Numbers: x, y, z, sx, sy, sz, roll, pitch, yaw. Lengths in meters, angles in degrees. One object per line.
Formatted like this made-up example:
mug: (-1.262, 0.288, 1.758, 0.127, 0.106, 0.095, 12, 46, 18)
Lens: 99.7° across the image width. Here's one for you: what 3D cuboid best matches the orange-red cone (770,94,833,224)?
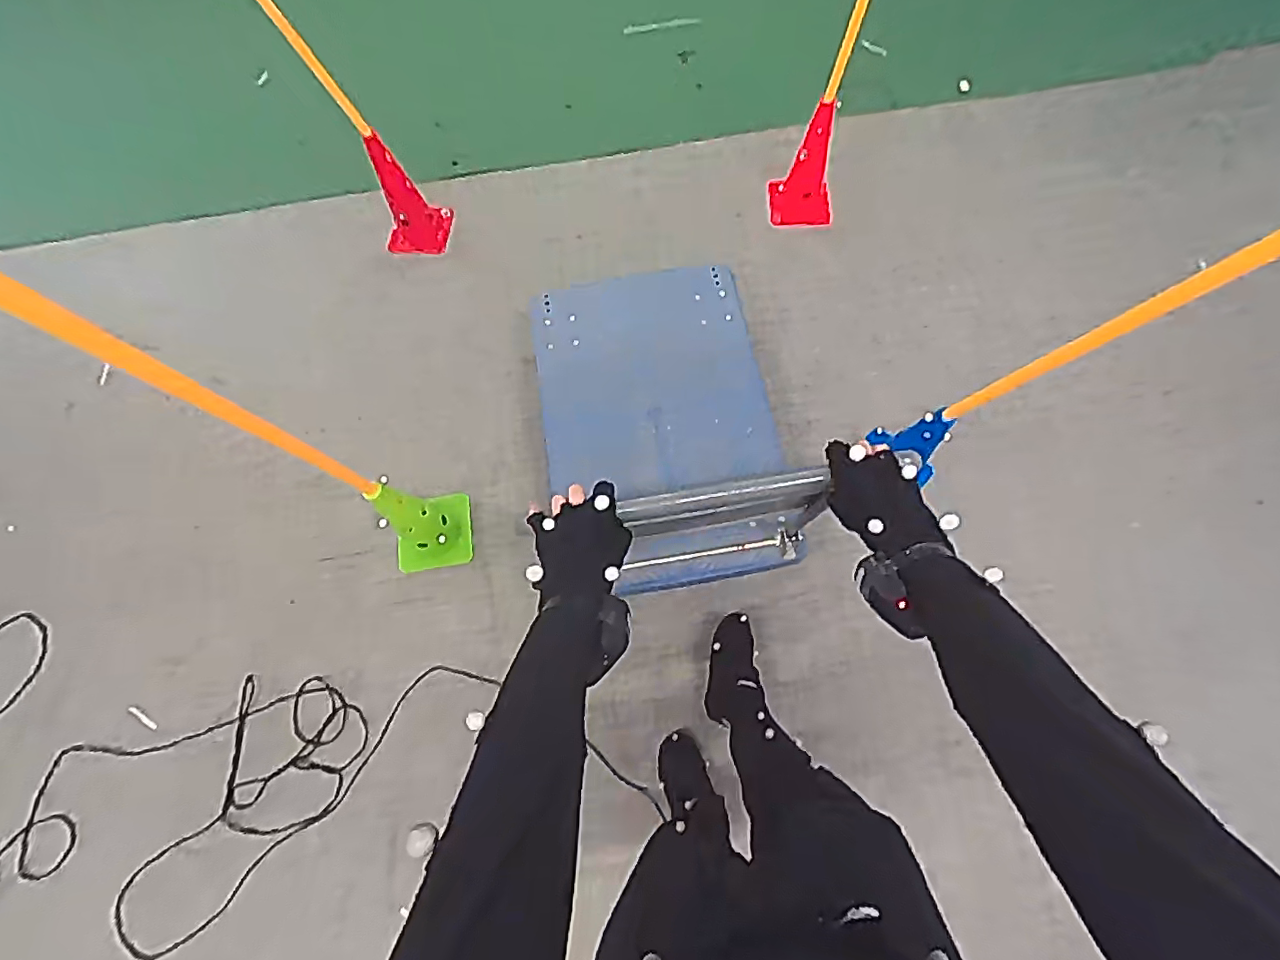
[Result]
orange-red cone: (0.527, -0.993, 1.654, 0.198, 0.360, 0.199, 1, 71, 4)
